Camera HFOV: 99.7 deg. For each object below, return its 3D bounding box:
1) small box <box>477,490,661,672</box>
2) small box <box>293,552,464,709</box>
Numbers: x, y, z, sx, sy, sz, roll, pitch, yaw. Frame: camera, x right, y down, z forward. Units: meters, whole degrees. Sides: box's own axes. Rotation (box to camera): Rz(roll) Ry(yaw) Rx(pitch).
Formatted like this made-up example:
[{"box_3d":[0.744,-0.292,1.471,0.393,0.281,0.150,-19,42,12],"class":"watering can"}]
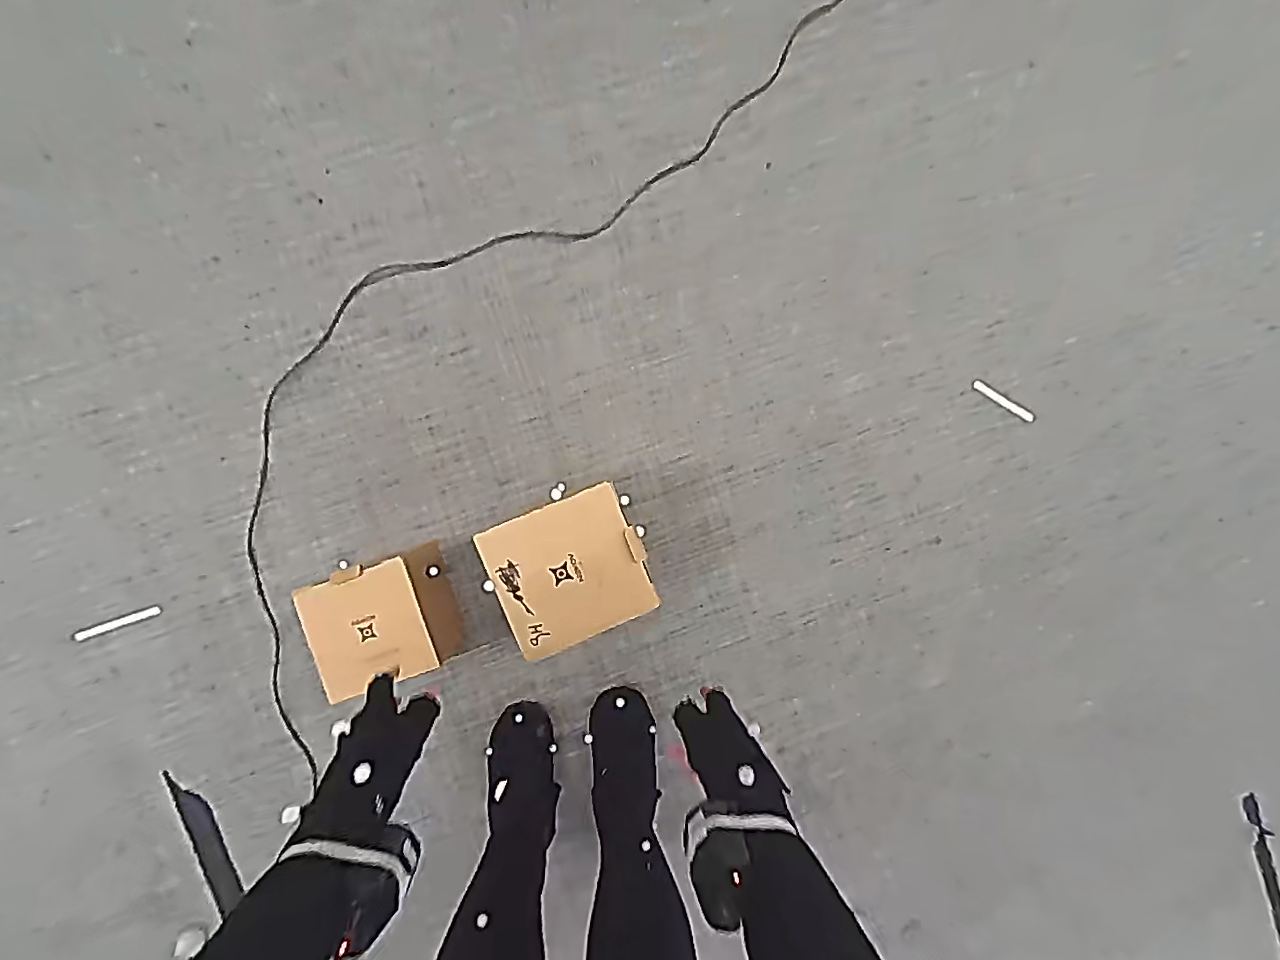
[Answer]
[{"box_3d":[-0.090,0.117,0.711,0.179,0.176,0.168,-21,92,-5],"class":"small box"},{"box_3d":[-0.398,0.221,0.854,0.168,0.176,0.179,-17,93,-3],"class":"small box"}]
